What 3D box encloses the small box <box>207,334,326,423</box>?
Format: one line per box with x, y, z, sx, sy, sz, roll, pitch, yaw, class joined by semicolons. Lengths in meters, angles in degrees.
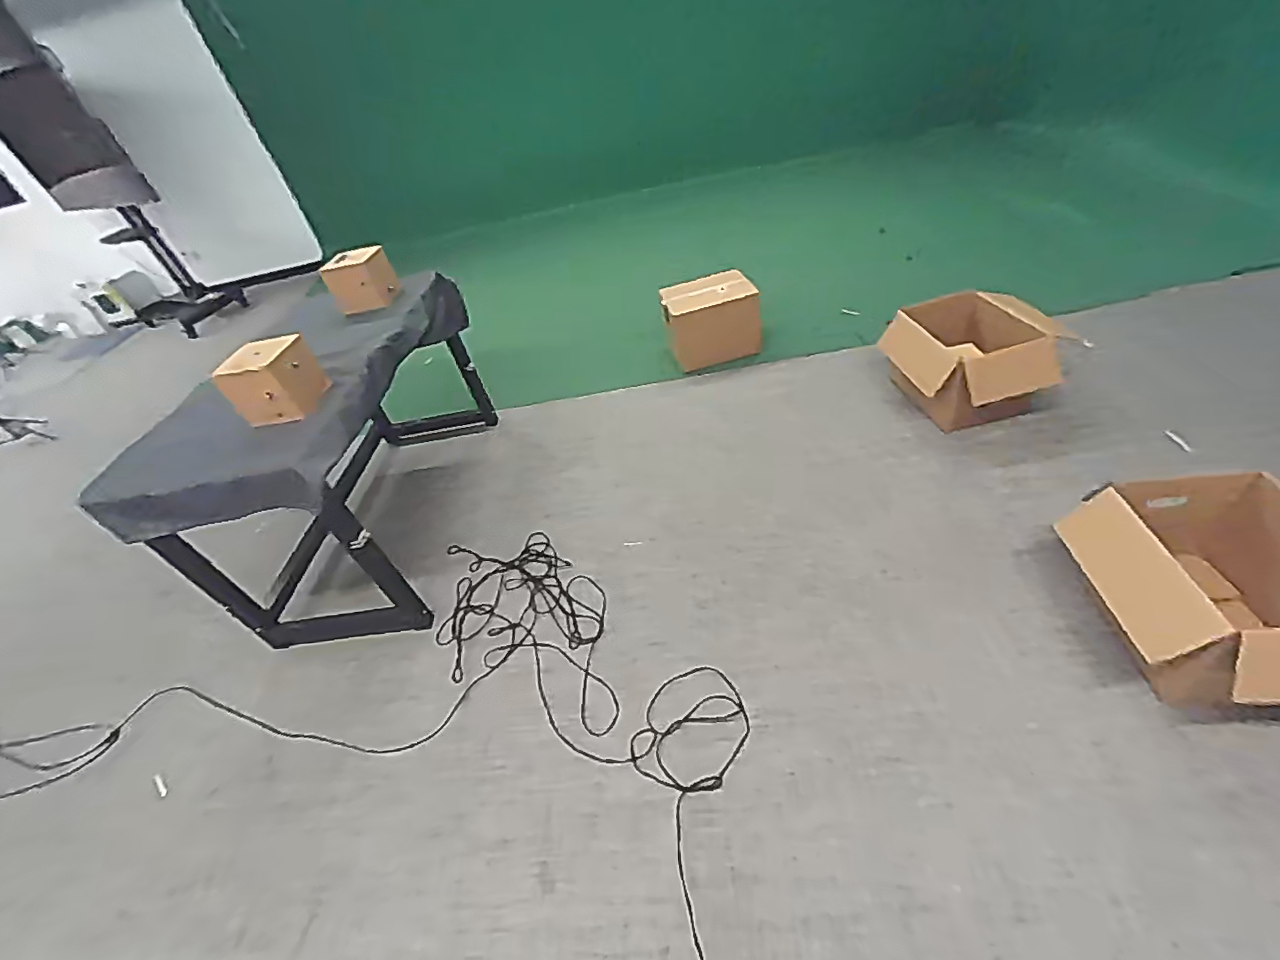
-0.990;-0.267;1.455;0.168;0.176;0.179;-7;40;8;small box
